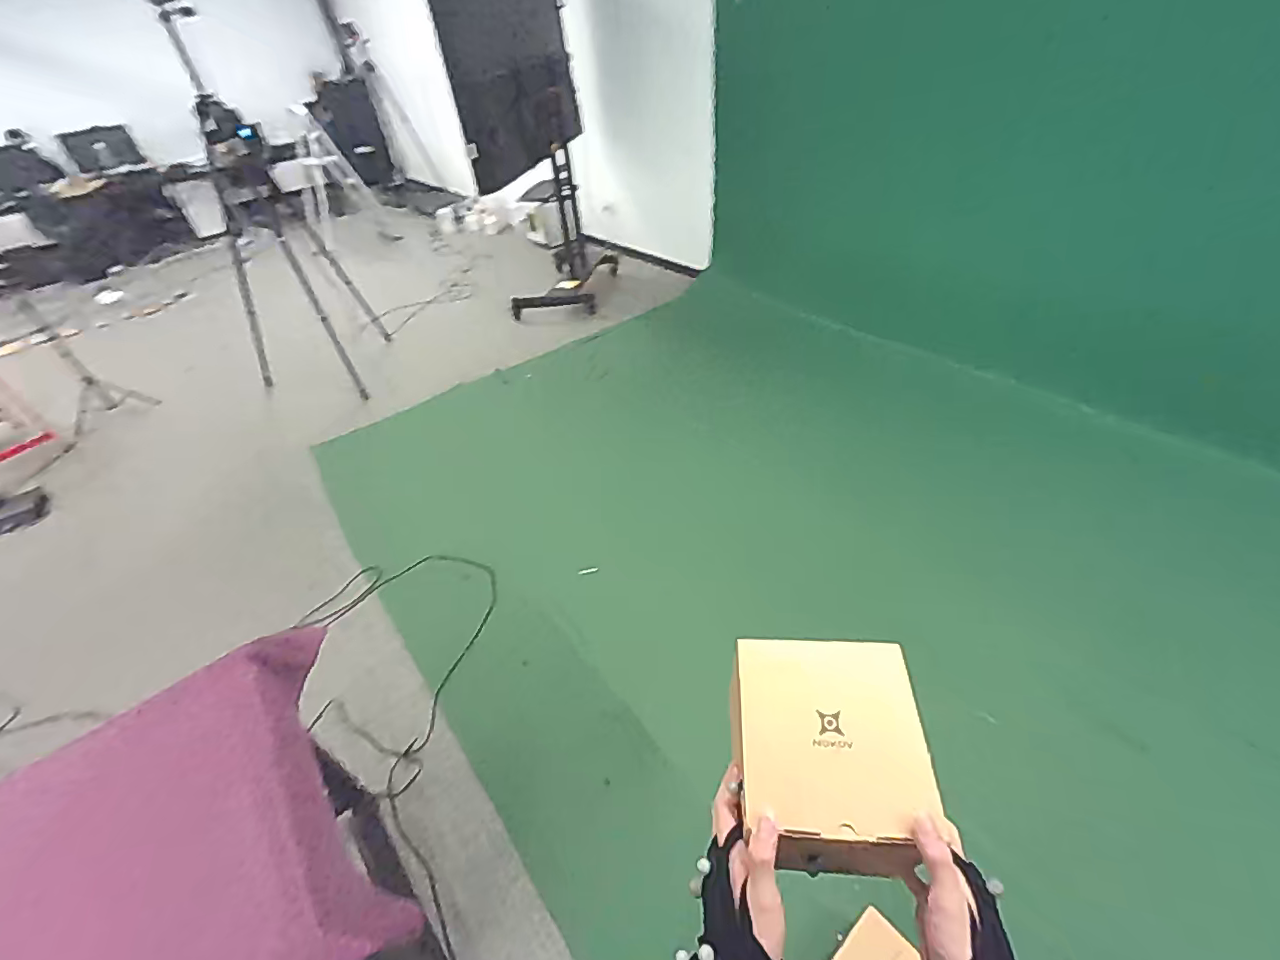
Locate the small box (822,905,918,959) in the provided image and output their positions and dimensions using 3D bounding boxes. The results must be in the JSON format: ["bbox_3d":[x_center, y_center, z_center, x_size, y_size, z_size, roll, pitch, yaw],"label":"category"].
[{"bbox_3d":[0.475,1.049,1.125,0.179,0.176,0.168,-31,47,-28],"label":"small box"}]

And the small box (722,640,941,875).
[{"bbox_3d":[0.174,0.287,0.561,0.168,0.176,0.179,0,48,5],"label":"small box"}]
